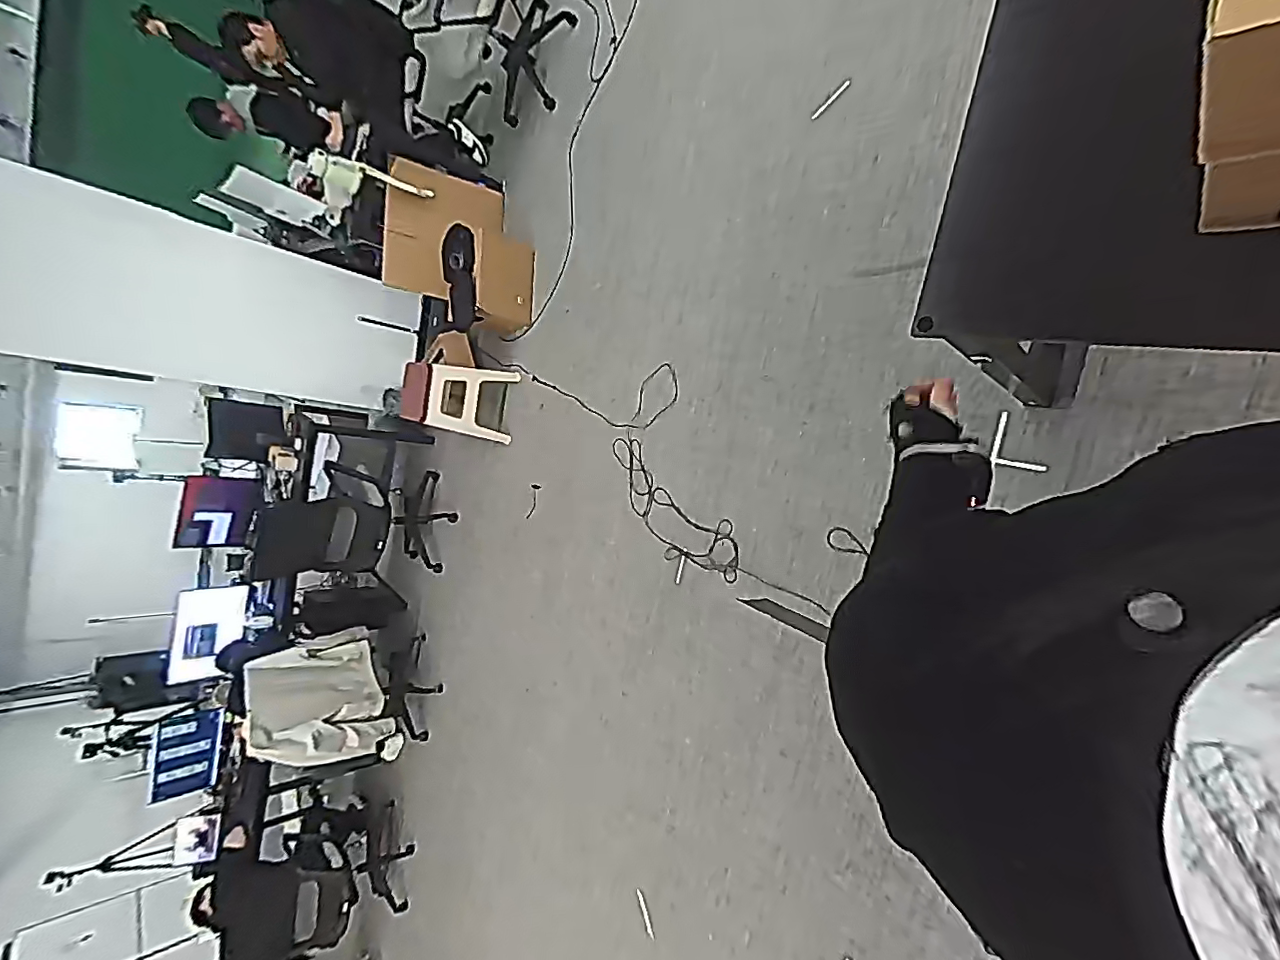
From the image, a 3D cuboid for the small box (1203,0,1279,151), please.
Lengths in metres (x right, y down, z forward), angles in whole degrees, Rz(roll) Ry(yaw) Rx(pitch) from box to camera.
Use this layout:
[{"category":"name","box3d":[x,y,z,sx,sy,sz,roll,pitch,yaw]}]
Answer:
[{"category":"small box","box3d":[0.501,-0.349,0.346,0.179,0.176,0.168,12,95,45]}]

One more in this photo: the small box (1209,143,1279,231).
[{"category":"small box","box3d":[0.619,-0.342,0.460,0.168,0.176,0.179,13,97,46]}]
